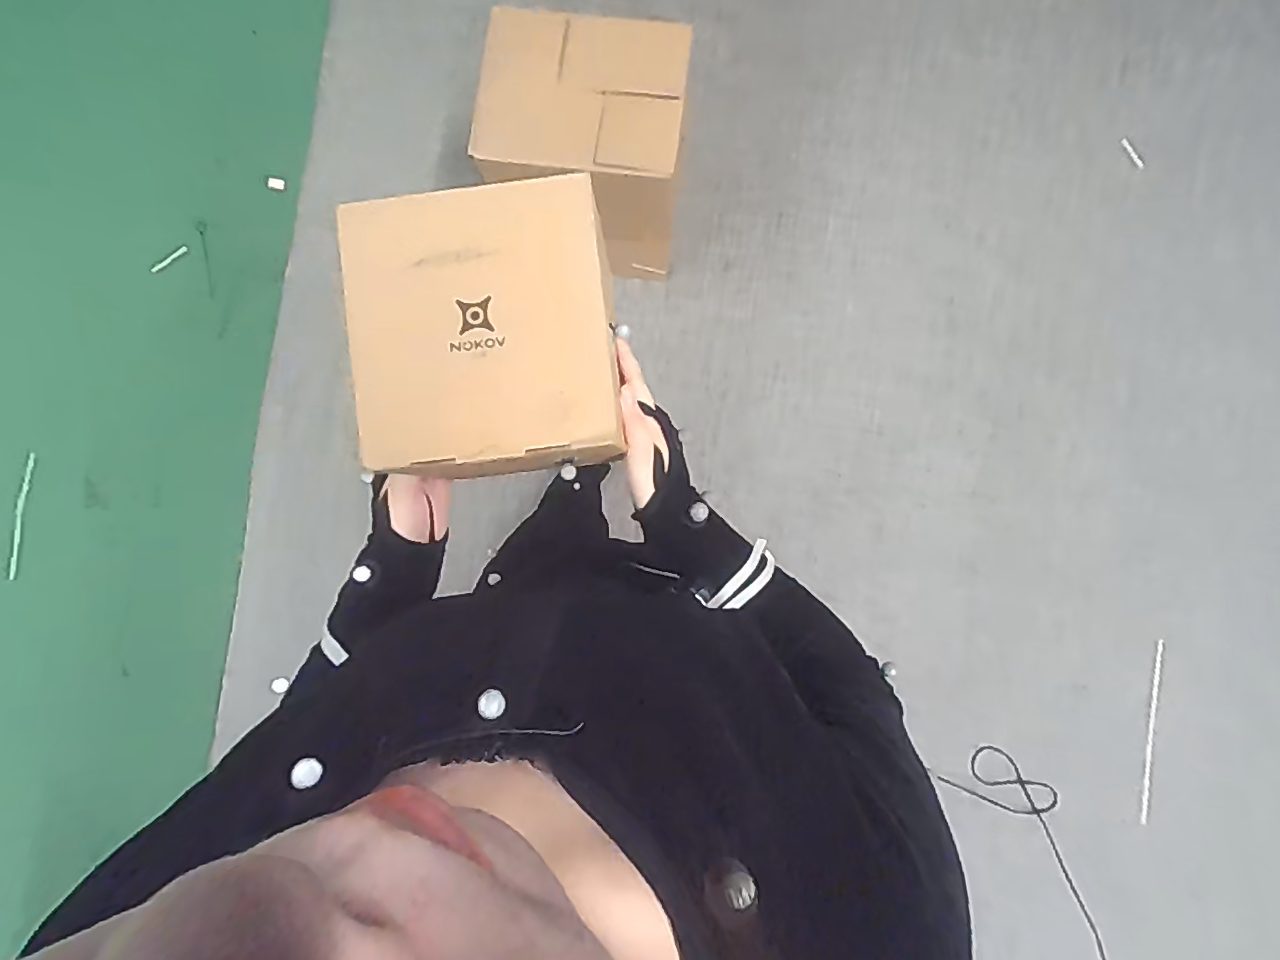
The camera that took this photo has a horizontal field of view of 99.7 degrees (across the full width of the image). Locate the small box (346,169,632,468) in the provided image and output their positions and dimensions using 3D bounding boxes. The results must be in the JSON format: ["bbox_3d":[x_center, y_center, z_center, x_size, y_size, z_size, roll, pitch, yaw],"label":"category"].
[{"bbox_3d":[-0.098,-0.102,0.424,0.168,0.176,0.179,-6,88,1],"label":"small box"}]
